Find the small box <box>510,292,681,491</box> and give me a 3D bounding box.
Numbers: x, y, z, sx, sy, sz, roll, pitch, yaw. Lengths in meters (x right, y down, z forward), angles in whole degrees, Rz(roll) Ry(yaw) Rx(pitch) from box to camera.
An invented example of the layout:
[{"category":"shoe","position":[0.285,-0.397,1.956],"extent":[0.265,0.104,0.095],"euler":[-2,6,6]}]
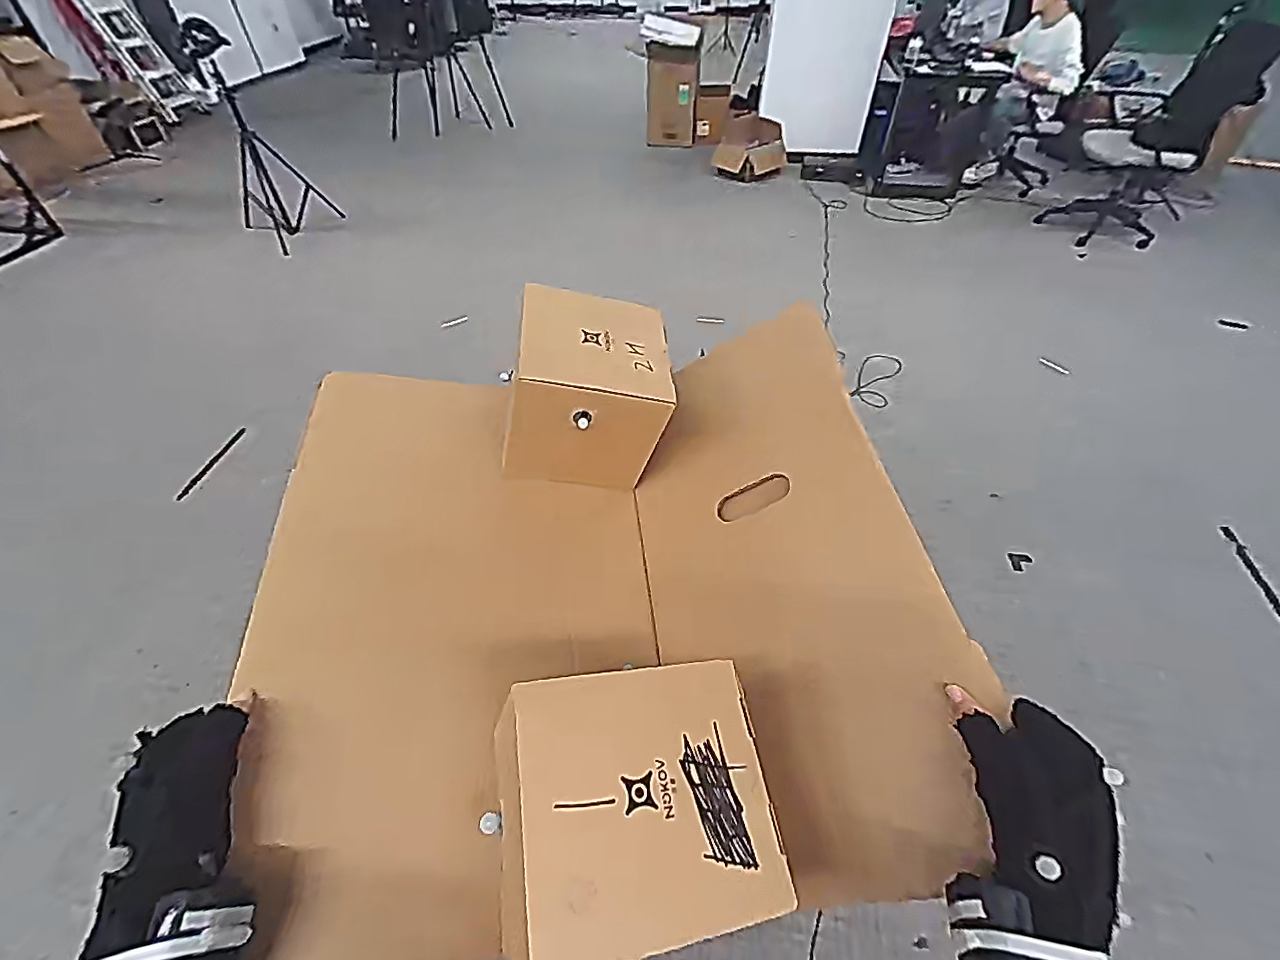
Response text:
[{"category":"small box","position":[-0.064,-0.102,0.681],"extent":[0.179,0.176,0.168],"euler":[8,53,-16]}]
